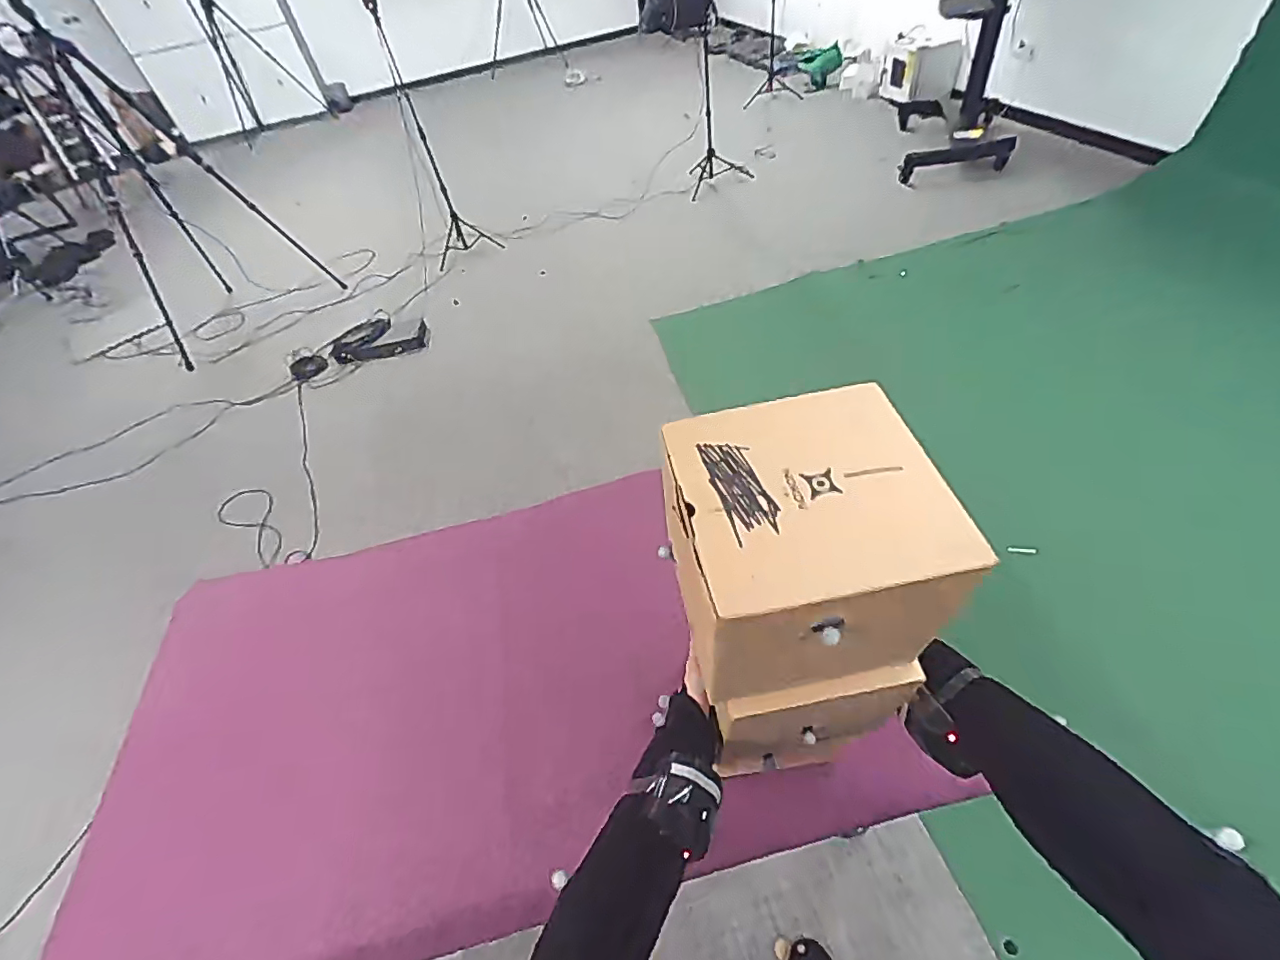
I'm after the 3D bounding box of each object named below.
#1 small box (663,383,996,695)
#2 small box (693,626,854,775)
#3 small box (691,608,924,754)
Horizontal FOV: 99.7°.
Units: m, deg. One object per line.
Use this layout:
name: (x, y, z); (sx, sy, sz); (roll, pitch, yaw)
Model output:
small box: (0.122, 0.052, 0.428); (0.179, 0.176, 0.168); (-10, 51, -3)
small box: (0.162, 0.258, 0.682); (0.168, 0.176, 0.179); (-8, 50, 0)
small box: (0.147, 0.162, 0.548); (0.168, 0.176, 0.179); (-10, 50, -2)
